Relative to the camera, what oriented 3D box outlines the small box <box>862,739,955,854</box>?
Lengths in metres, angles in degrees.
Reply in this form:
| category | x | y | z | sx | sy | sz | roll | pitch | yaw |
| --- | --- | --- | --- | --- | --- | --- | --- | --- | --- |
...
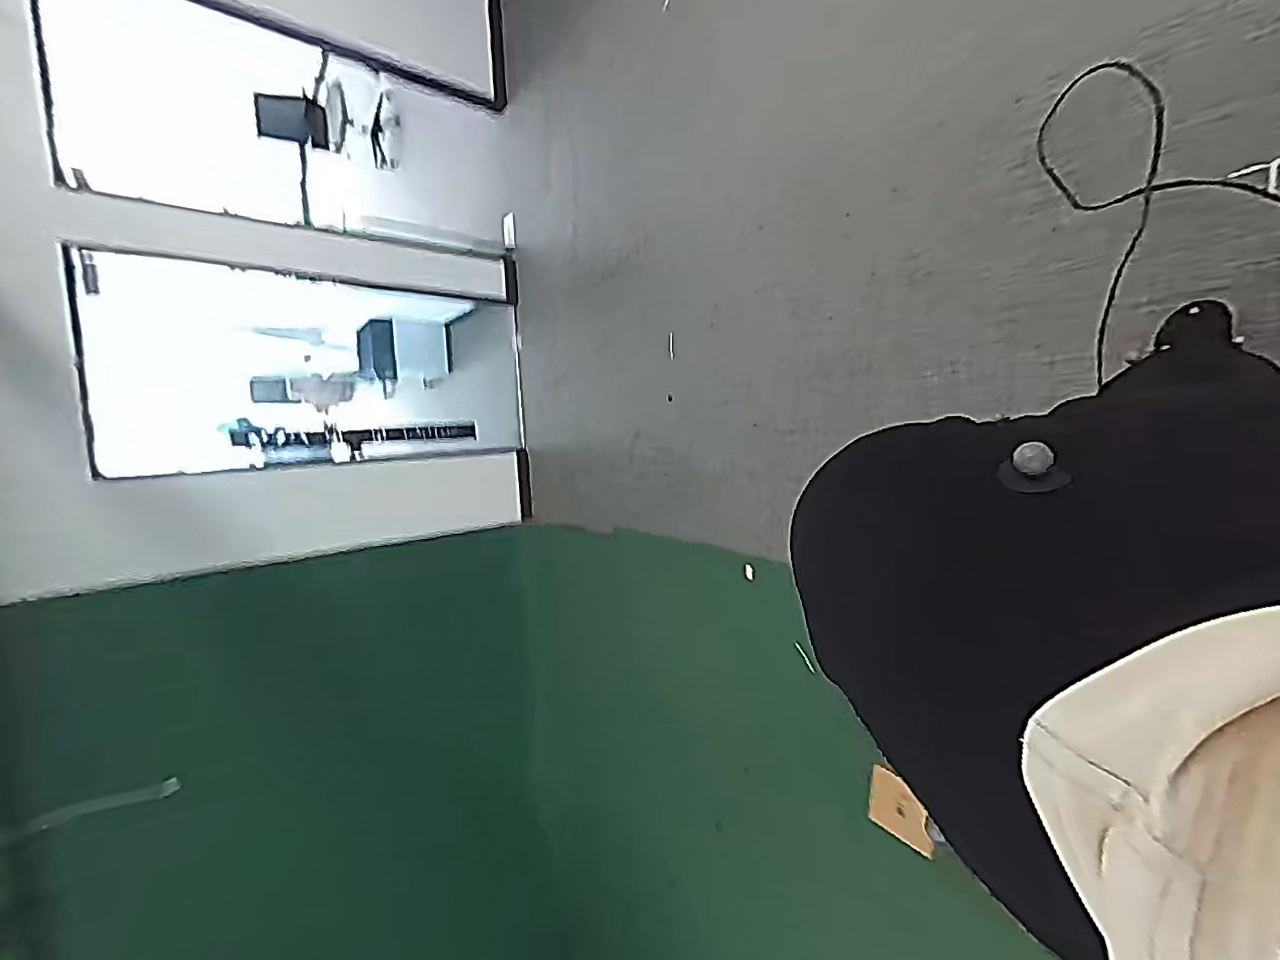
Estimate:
| category | x | y | z | sx | sy | sz | roll | pitch | yaw |
| --- | --- | --- | --- | --- | --- | --- | --- | --- | --- |
| small box | 0.734 | 0.852 | 1.474 | 0.168 | 0.176 | 0.179 | 15 | 106 | 49 |
